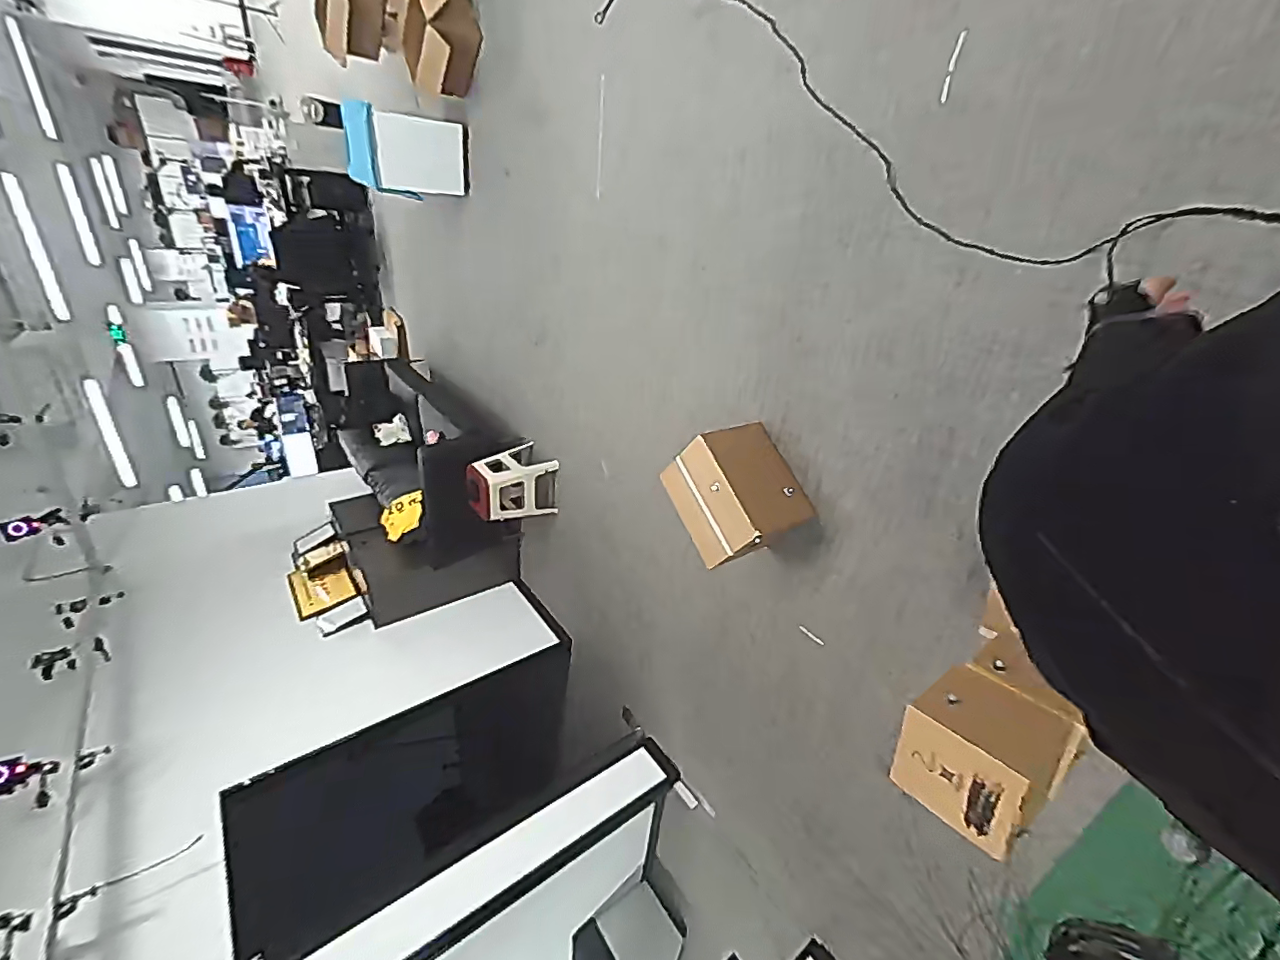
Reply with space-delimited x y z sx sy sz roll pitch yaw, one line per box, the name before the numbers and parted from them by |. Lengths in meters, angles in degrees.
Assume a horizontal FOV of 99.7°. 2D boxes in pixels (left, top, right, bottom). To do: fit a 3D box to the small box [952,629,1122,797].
small box | 0.684 0.387 0.935 0.179 0.176 0.168 28 124 48
